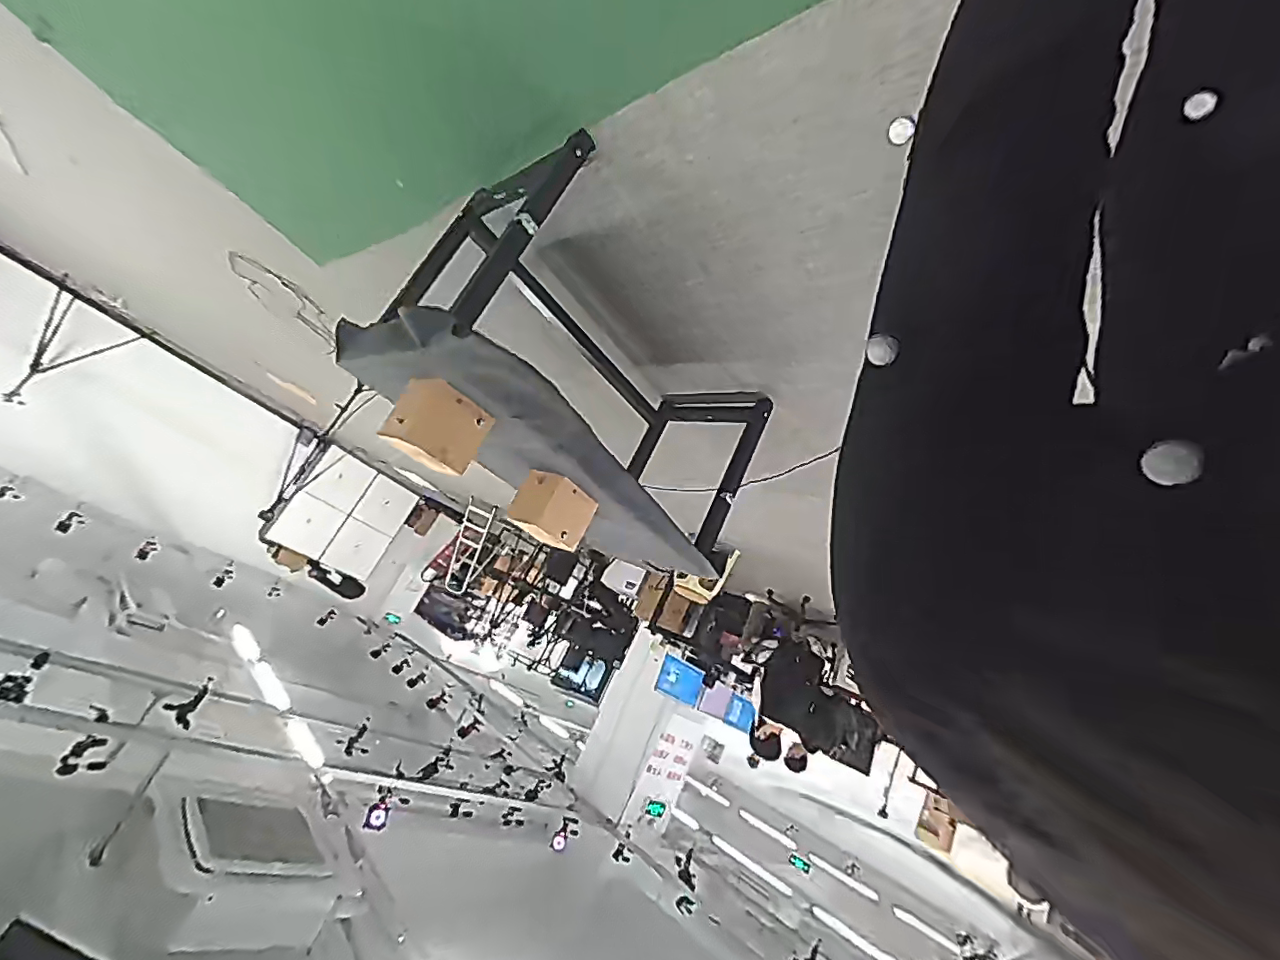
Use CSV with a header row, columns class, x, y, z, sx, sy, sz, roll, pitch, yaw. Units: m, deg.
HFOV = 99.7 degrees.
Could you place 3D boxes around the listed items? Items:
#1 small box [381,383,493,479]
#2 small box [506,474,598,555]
class,x,y,z,sx,sy,sz,roll,pitch,yaw
small box,-0.489,-0.123,1.324,0.179,0.176,0.168,11,157,45
small box,-0.258,0.098,1.607,0.179,0.176,0.168,9,155,46
